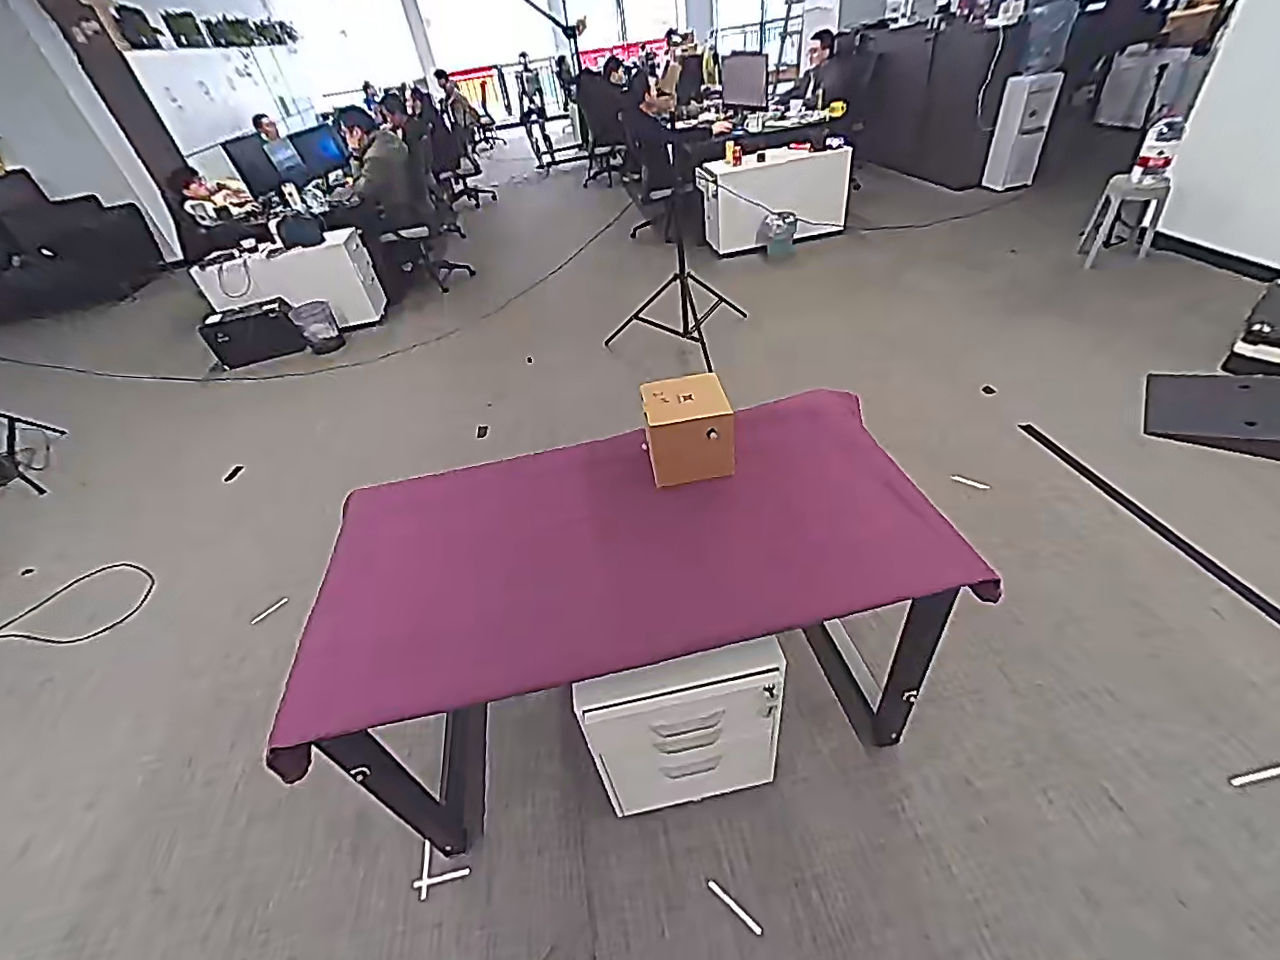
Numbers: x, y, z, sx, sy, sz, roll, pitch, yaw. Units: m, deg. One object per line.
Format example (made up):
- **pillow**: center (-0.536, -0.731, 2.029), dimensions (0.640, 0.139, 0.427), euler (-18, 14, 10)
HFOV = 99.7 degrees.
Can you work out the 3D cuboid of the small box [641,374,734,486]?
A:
- **small box**: center (0.104, -0.109, 1.194), dimensions (0.179, 0.176, 0.168), euler (-10, 41, 0)
